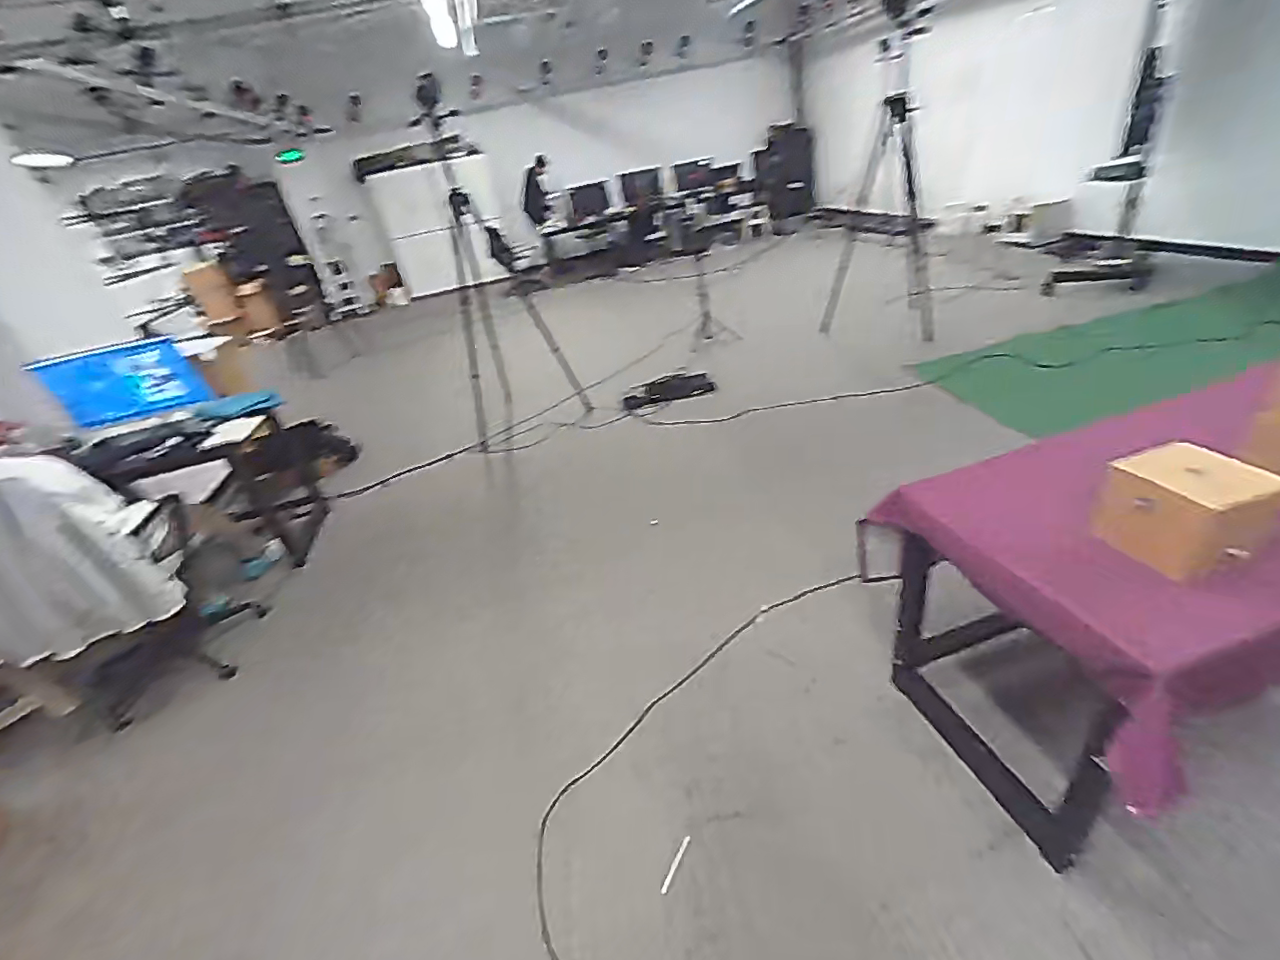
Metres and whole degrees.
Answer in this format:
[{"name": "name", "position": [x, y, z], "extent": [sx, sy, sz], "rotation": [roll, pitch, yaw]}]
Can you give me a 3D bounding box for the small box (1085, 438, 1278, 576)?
[{"name": "small box", "position": [0.985, 0.048, 1.006], "extent": [0.168, 0.176, 0.179], "rotation": [-17, 31, -7]}]
